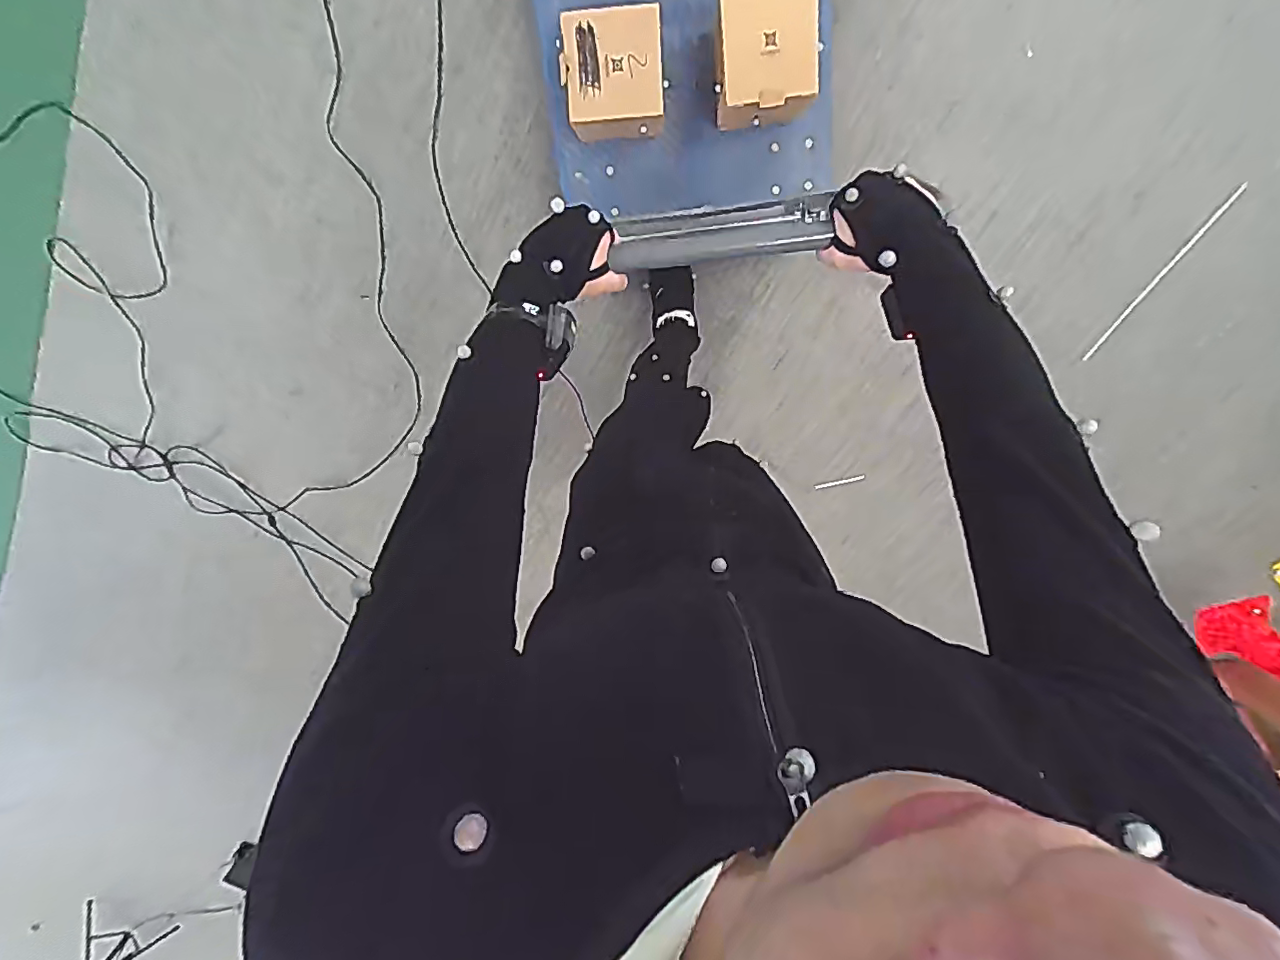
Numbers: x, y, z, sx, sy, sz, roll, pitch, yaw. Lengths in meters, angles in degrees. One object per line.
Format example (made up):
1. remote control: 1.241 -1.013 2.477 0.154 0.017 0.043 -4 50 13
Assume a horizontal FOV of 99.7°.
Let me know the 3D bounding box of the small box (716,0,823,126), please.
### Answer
1. small box: 0.235 -0.790 1.007 0.168 0.176 0.179 -5 112 5
